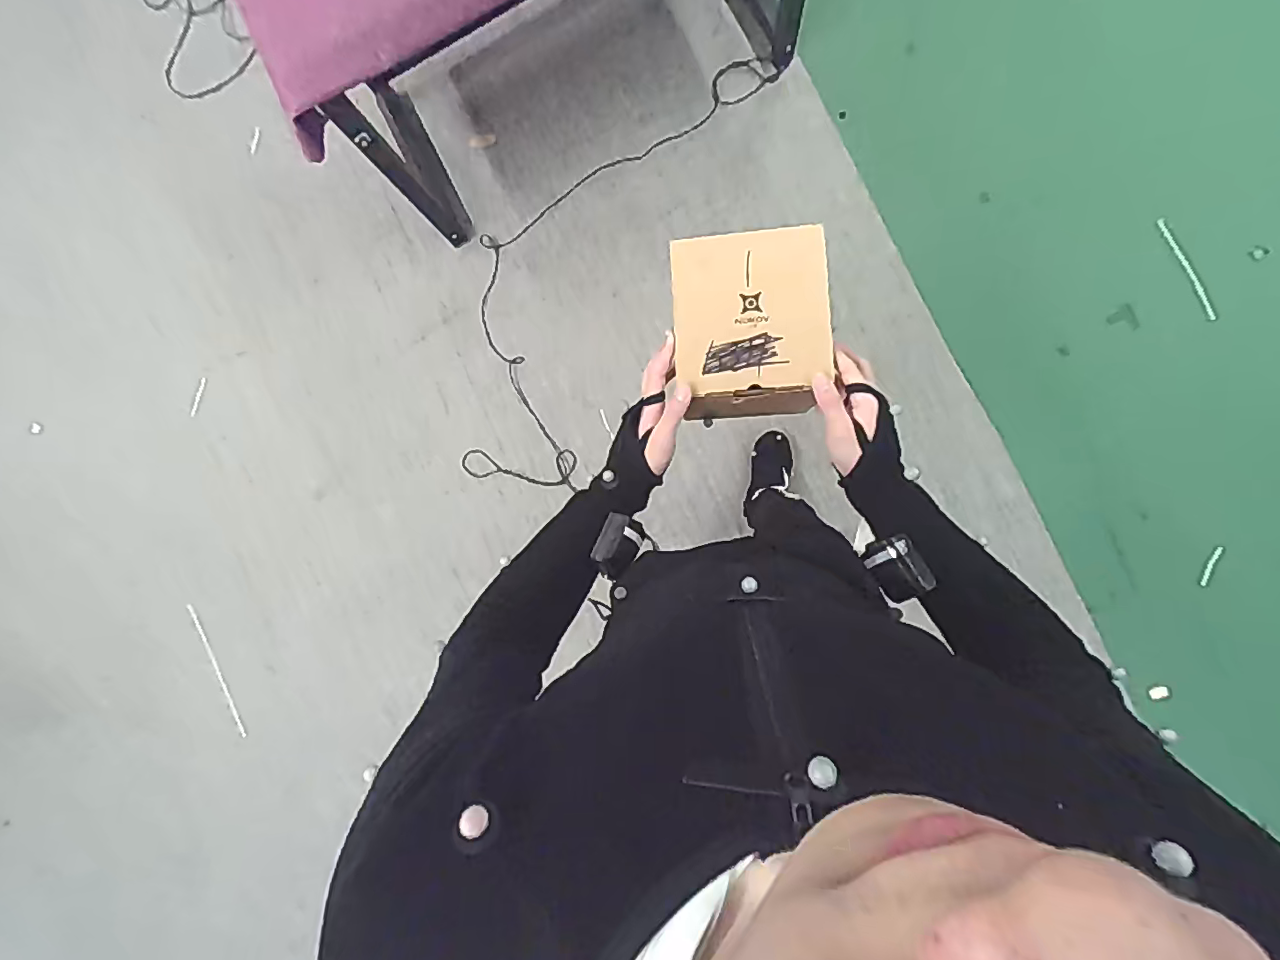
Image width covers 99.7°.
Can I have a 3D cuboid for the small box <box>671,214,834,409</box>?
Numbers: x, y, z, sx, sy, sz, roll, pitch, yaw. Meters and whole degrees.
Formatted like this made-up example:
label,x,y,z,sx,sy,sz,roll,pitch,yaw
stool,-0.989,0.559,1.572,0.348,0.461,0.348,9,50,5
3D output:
label,x,y,z,sx,sy,sz,roll,pitch,yaw
small box,0.127,-0.184,0.648,0.168,0.176,0.179,-3,87,7
